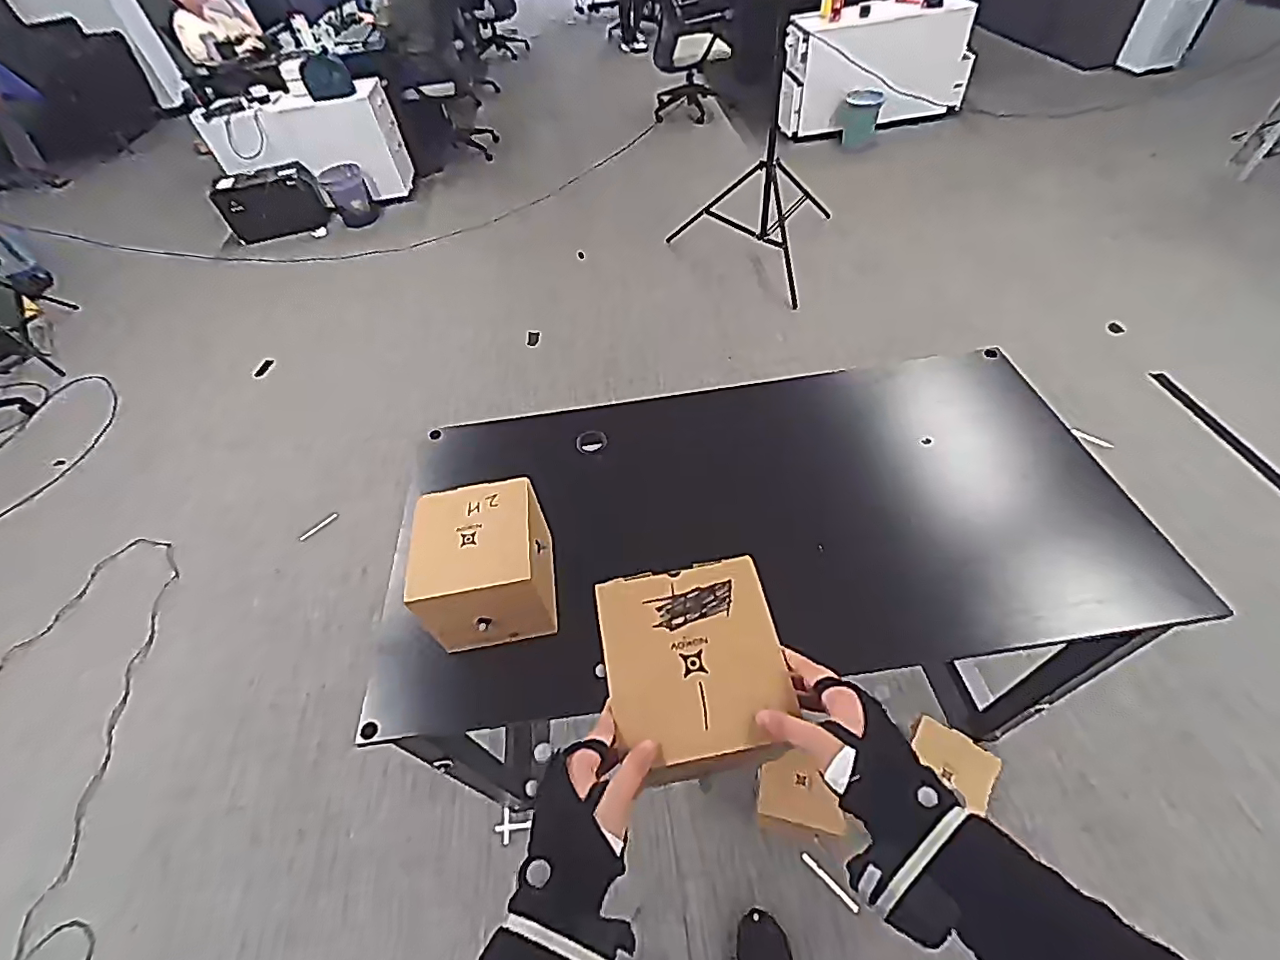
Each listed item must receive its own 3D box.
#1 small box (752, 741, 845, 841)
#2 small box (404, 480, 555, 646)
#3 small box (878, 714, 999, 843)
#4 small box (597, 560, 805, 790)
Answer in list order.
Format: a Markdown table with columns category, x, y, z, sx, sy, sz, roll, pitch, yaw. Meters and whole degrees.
| category | x | y | z | sx | sy | sz | roll | pitch | yaw |
| --- | --- | --- | --- | --- | --- | --- | --- | --- | --- |
| small box | 0.353 | 0.695 | 1.217 | 0.179 | 0.176 | 0.168 | 7 | 52 | 14 |
| small box | -0.225 | 0.130 | 0.798 | 0.168 | 0.176 | 0.179 | -10 | 50 | -2 |
| small box | 0.654 | 0.665 | 1.202 | 0.168 | 0.176 | 0.179 | 27 | 59 | 26 |
| small box | 0.052 | 0.209 | 0.571 | 0.168 | 0.176 | 0.179 | -11 | 56 | -2 |
